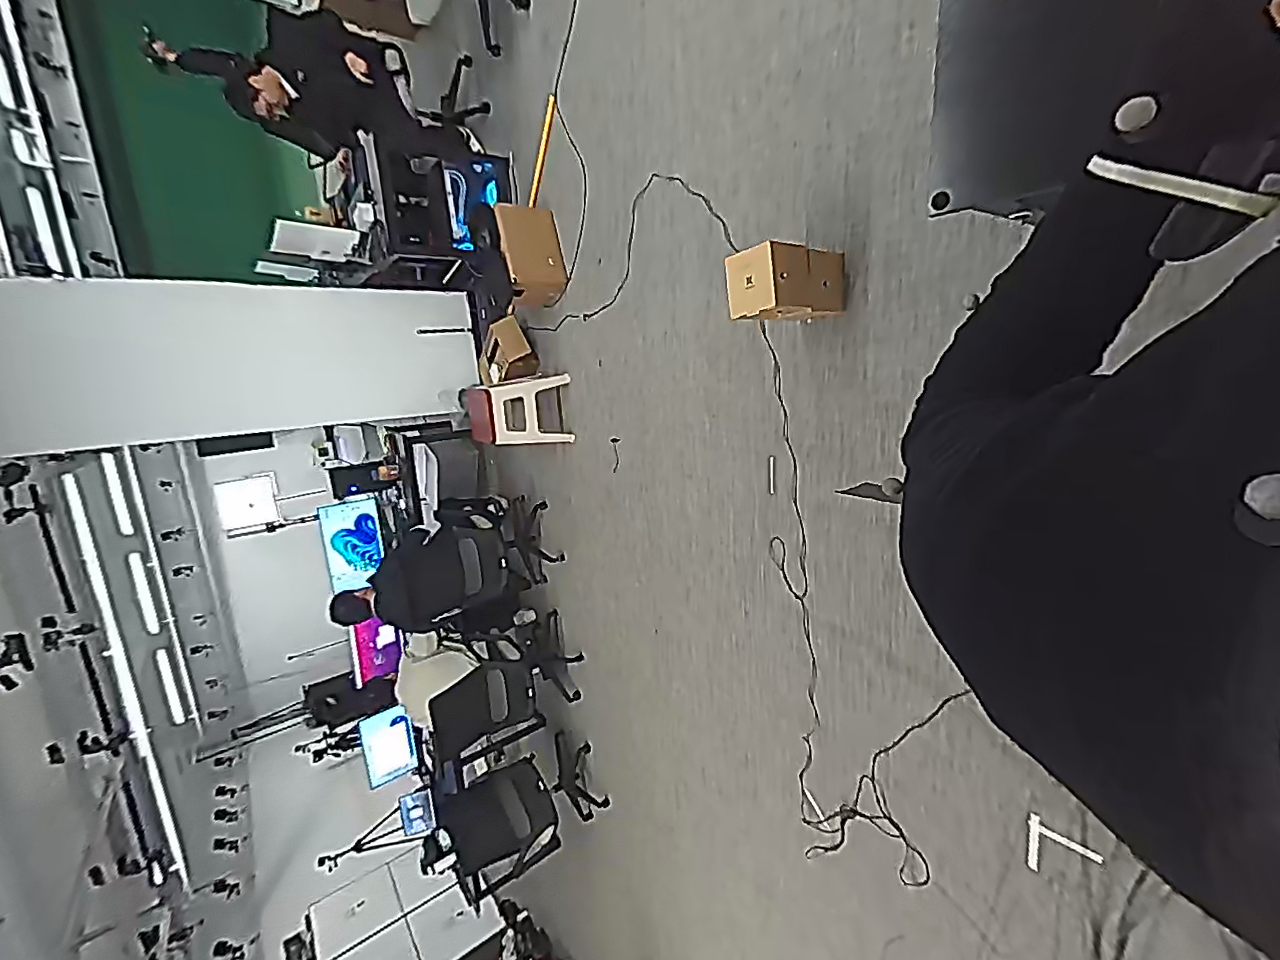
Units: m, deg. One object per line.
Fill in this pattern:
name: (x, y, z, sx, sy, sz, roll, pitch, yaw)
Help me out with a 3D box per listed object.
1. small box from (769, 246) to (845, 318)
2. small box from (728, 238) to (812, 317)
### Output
small box: (0.504, -0.593, 1.638, 0.168, 0.176, 0.179, 7, 106, 53)
small box: (0.374, -0.571, 1.542, 0.168, 0.176, 0.179, 3, 102, 53)
